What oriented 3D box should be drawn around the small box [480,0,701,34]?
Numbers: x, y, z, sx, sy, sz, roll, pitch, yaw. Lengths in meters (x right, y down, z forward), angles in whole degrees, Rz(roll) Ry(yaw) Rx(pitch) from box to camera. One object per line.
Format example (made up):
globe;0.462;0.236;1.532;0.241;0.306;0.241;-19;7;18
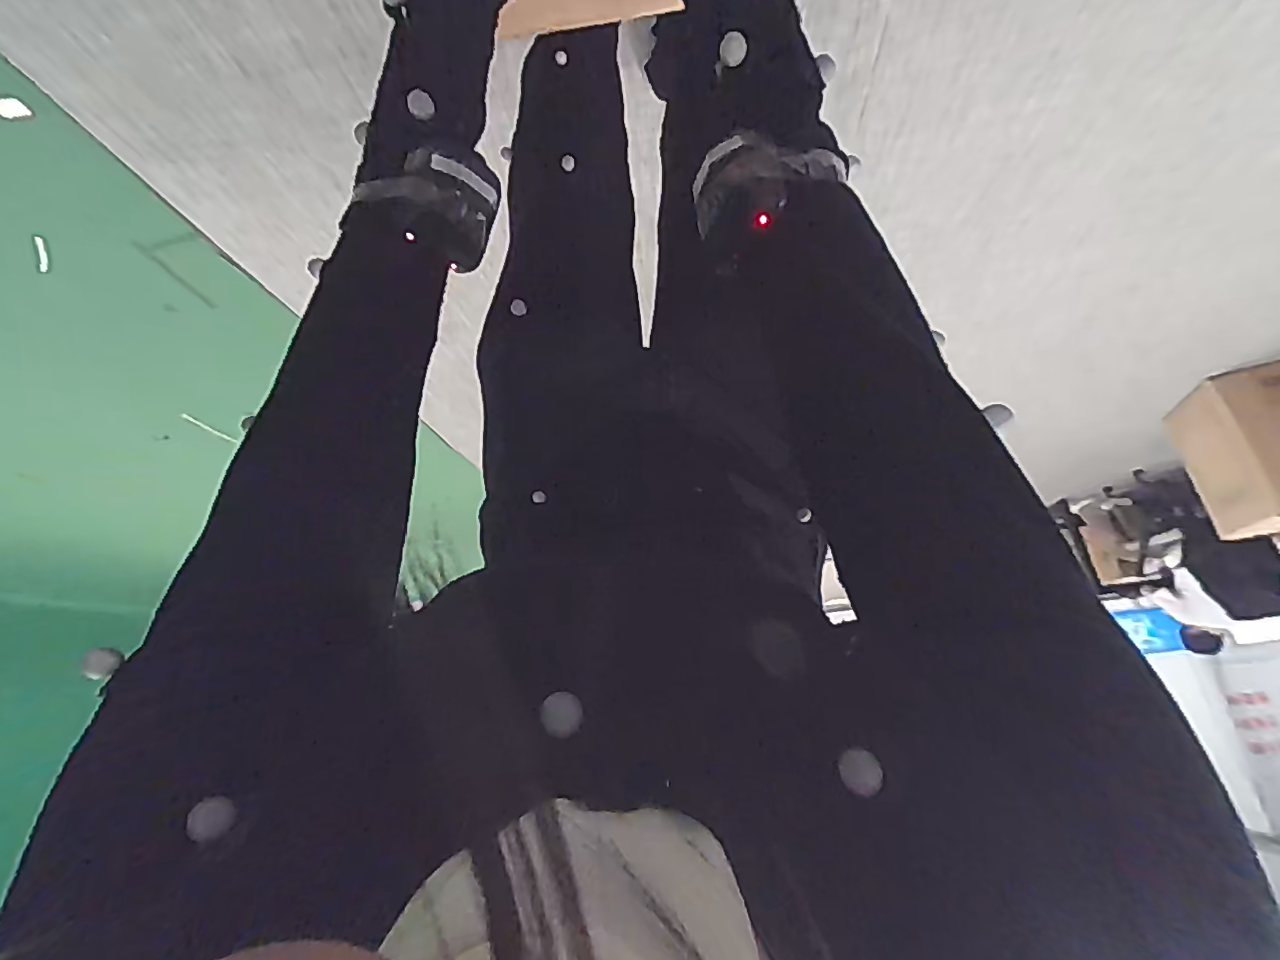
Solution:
small box;-0.044;-0.456;0.365;0.179;0.176;0.168;-6;159;3
